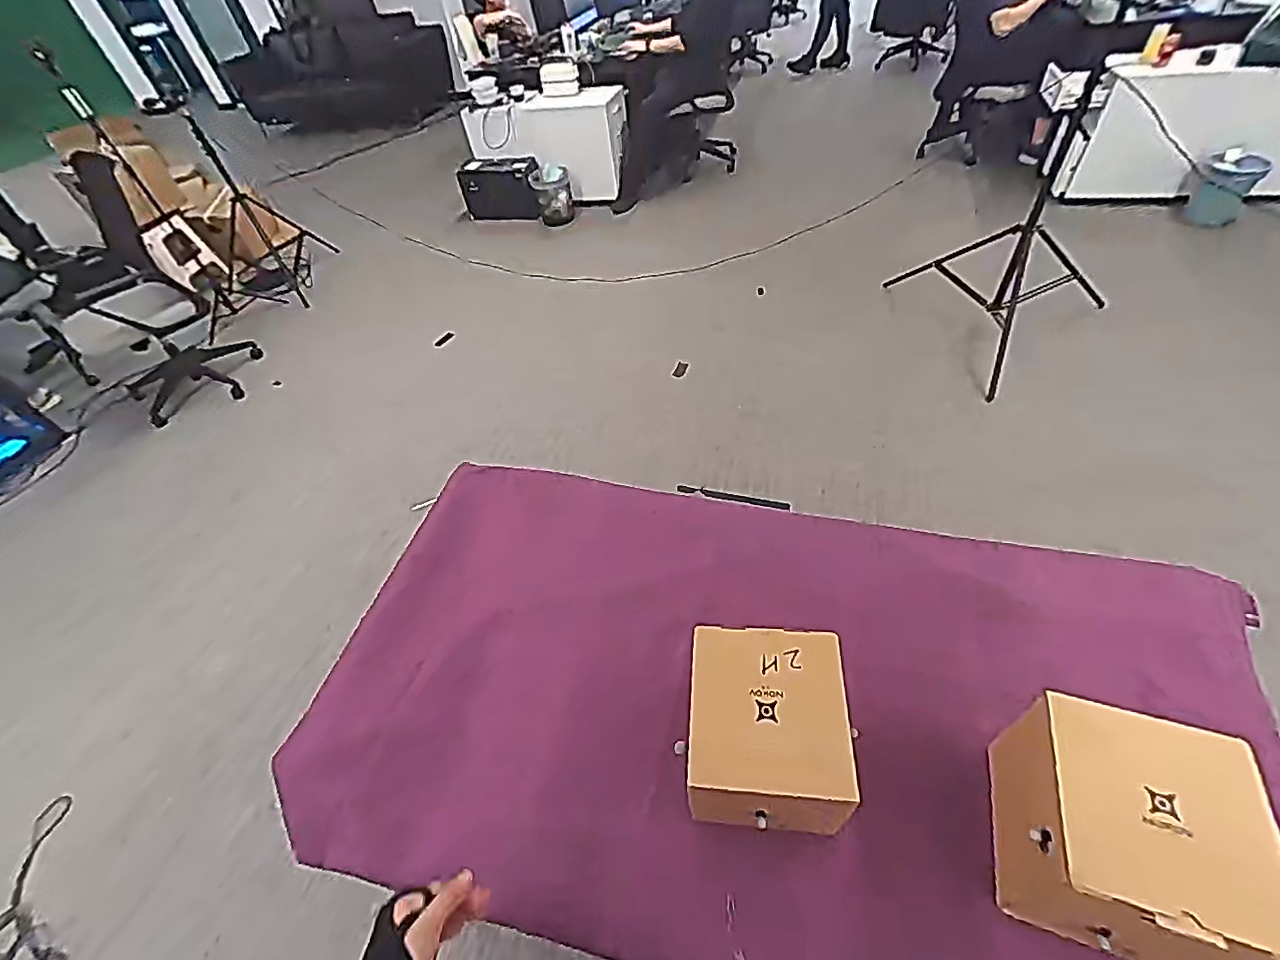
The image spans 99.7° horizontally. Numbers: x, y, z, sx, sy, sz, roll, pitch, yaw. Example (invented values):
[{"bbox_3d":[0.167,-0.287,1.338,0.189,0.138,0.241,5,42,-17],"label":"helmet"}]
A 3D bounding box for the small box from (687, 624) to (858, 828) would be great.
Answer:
[{"bbox_3d":[0.147,0.291,0.636,0.168,0.176,0.179,1,48,9],"label":"small box"}]

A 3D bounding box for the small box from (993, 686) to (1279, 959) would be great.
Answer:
[{"bbox_3d":[0.474,0.342,0.538,0.168,0.176,0.179,10,49,18],"label":"small box"}]
